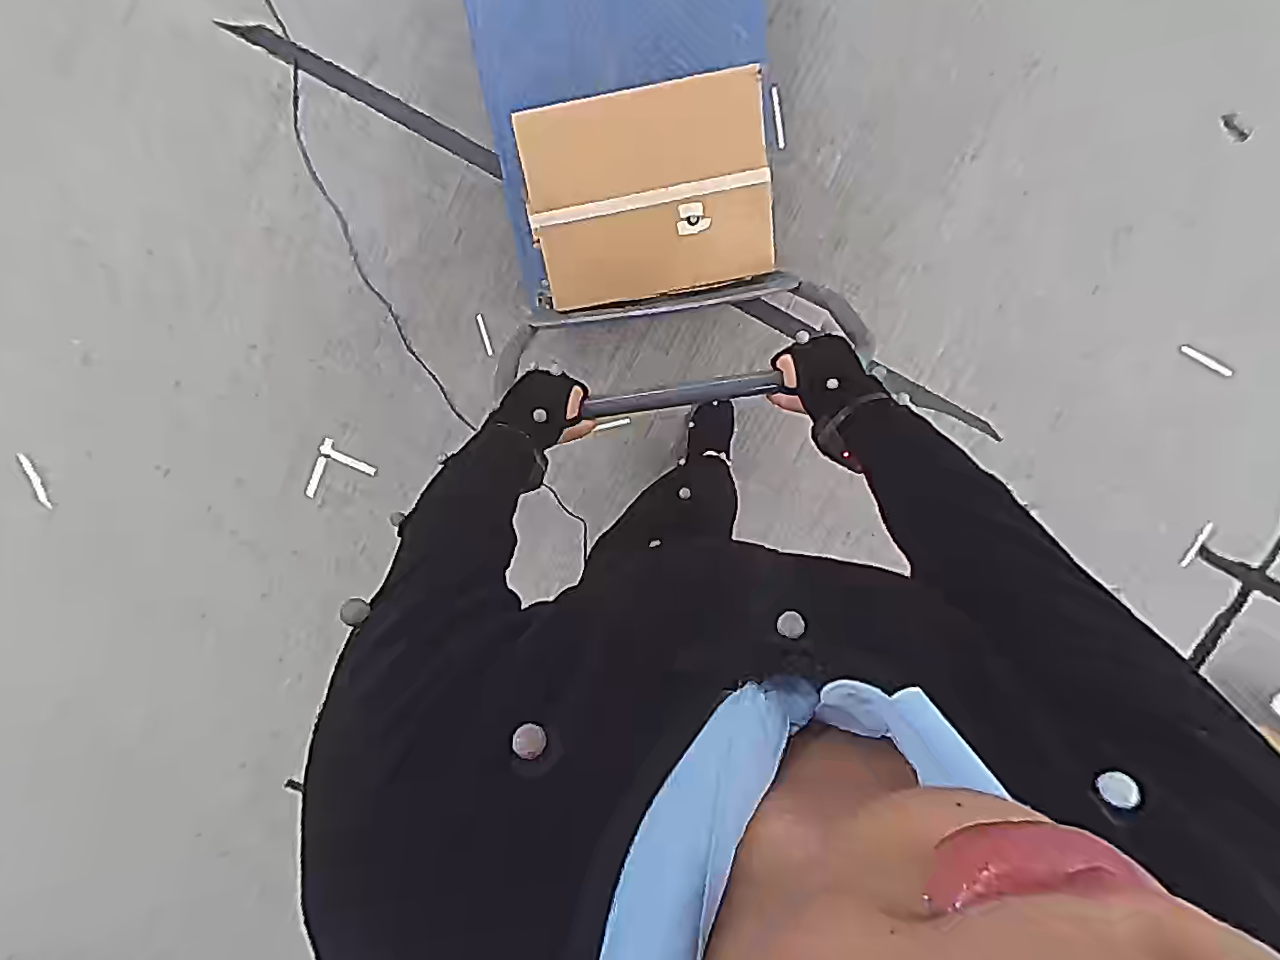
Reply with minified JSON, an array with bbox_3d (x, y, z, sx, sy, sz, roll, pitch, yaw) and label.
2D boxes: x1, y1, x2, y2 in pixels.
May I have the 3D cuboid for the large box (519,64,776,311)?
[{"bbox_3d":[0.017,-0.546,1.067,0.408,0.320,0.320,-11,114,2],"label":"large box"}]
